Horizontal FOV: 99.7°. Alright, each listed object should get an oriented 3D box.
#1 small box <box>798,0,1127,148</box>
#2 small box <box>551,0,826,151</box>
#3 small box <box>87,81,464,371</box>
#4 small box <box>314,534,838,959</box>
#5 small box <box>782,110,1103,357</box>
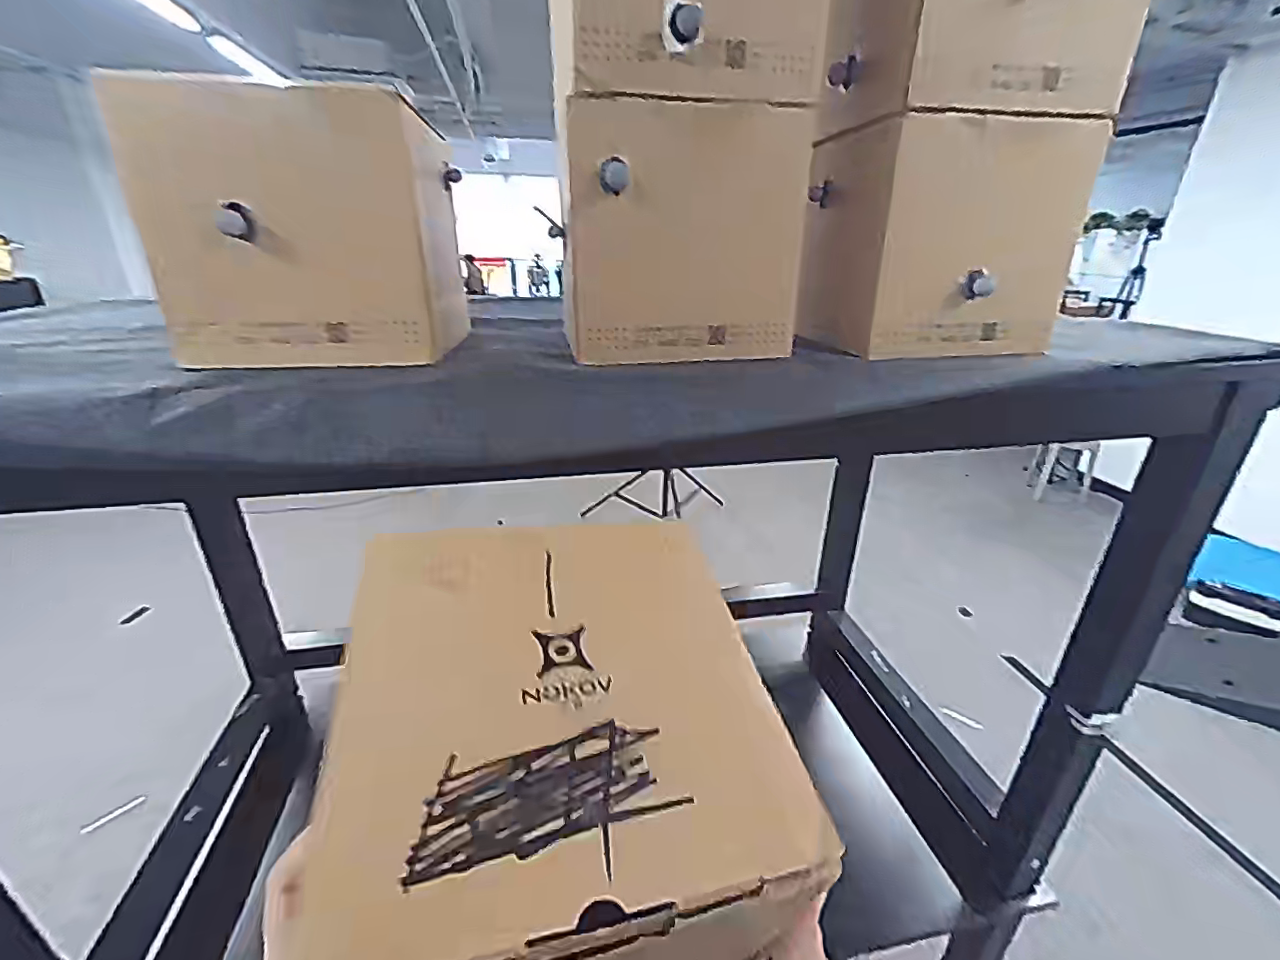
[{"bbox_3d":[0.240,-0.360,0.418,0.168,0.176,0.179,-3,24,-9],"label":"small box"},{"bbox_3d":[0.022,-0.346,0.392,0.168,0.176,0.179,-6,24,-11],"label":"small box"},{"bbox_3d":[-0.238,-0.180,0.415,0.168,0.176,0.179,-3,23,-8],"label":"small box"},{"bbox_3d":[-0.038,0.149,0.273,0.168,0.176,0.179,-1,36,-16],"label":"small box"},{"bbox_3d":[0.238,-0.208,0.482,0.168,0.176,0.179,-5,24,-9],"label":"small box"}]
